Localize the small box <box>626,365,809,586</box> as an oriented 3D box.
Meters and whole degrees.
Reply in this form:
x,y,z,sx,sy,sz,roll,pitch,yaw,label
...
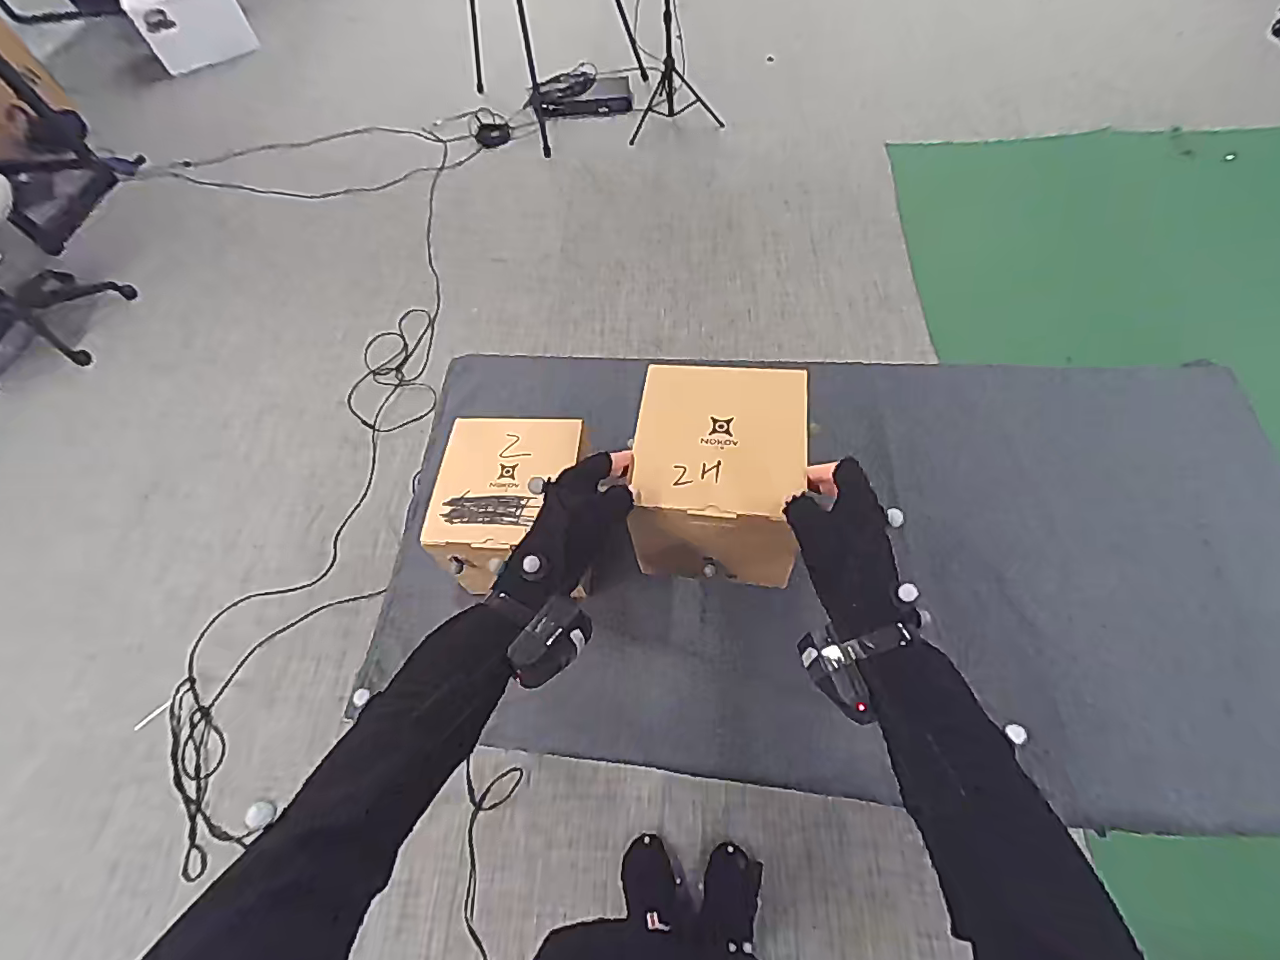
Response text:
x,y,z,sx,sy,sz,roll,pitch,yaw,label
0.087,-0.002,0.594,0.168,0.176,0.179,5,60,10,small box
